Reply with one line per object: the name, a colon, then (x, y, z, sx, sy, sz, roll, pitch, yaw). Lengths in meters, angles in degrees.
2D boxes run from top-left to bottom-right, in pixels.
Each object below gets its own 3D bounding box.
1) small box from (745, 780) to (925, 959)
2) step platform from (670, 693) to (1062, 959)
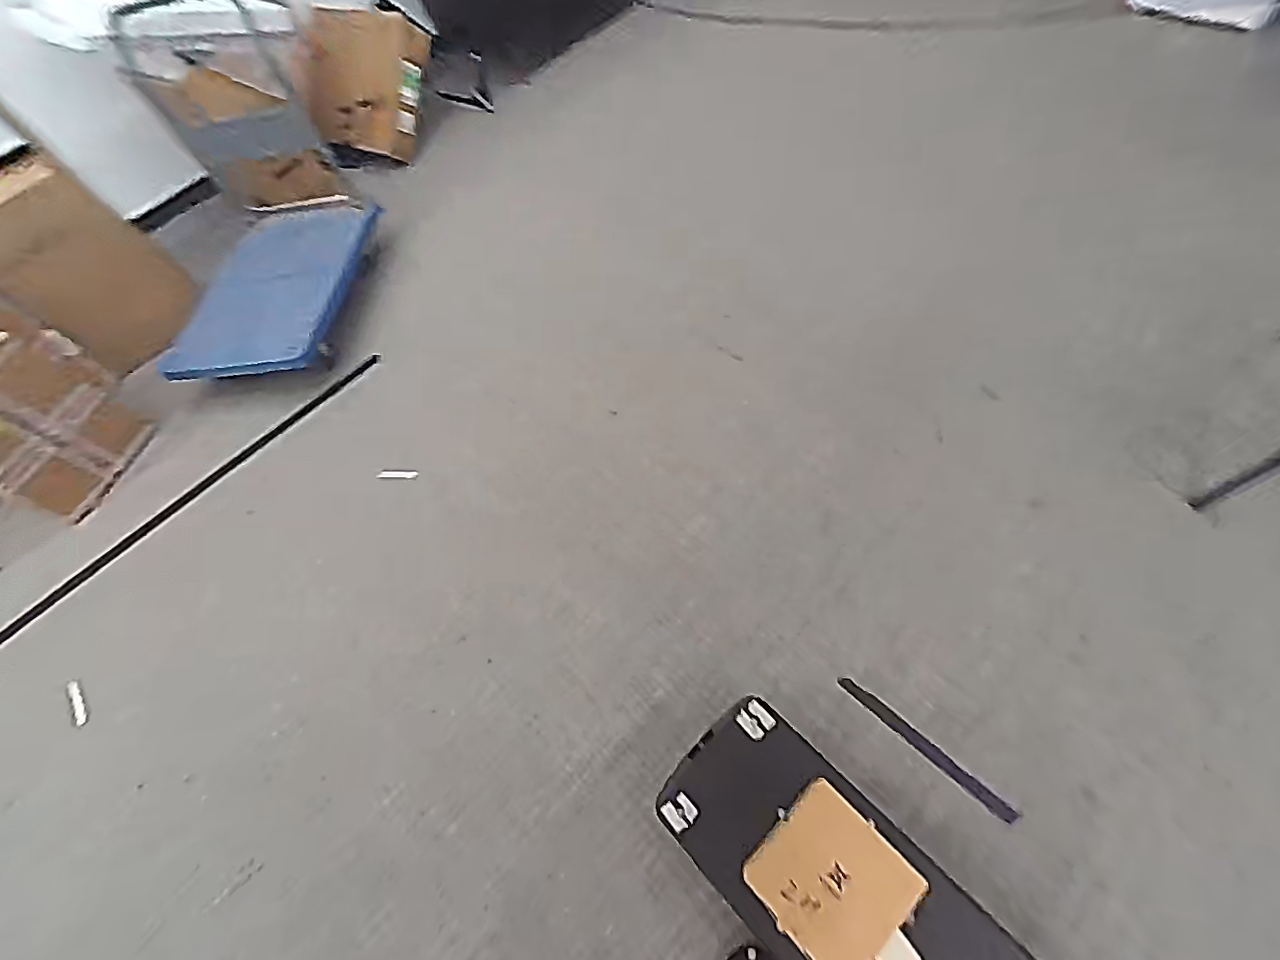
small box: (0.269, 0.570, 0.785, 0.179, 0.176, 0.168, -42, 59, -13)
step platform: (0.369, 0.693, 0.896, 0.286, 0.204, 0.684, -43, 60, -15)
